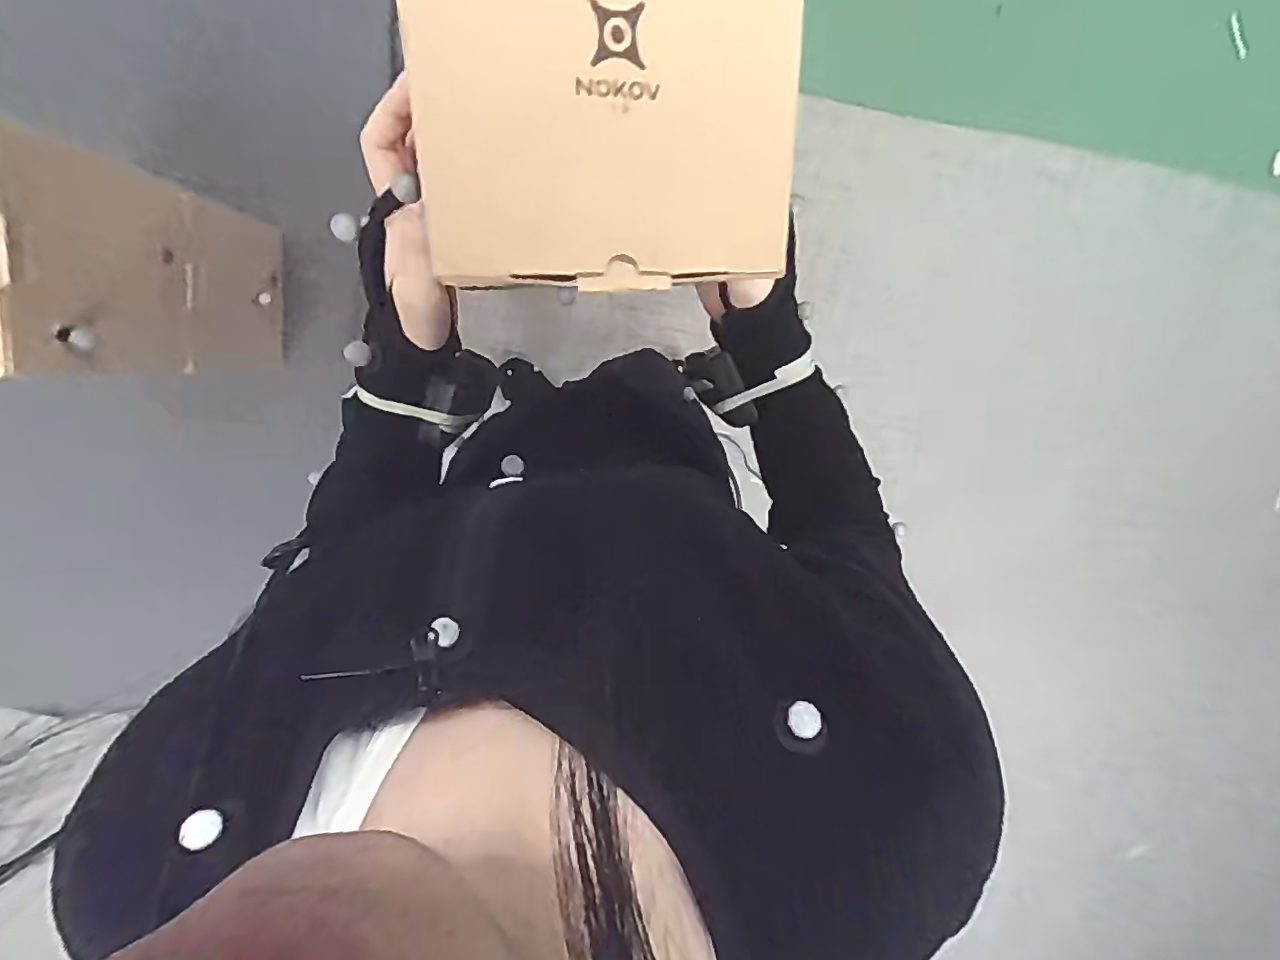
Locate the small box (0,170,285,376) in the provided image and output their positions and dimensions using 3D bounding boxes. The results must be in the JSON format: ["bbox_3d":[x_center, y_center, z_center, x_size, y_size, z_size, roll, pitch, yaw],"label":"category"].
[{"bbox_3d":[-0.519,-0.205,0.580,0.179,0.176,0.168,6,102,-8],"label":"small box"}]
